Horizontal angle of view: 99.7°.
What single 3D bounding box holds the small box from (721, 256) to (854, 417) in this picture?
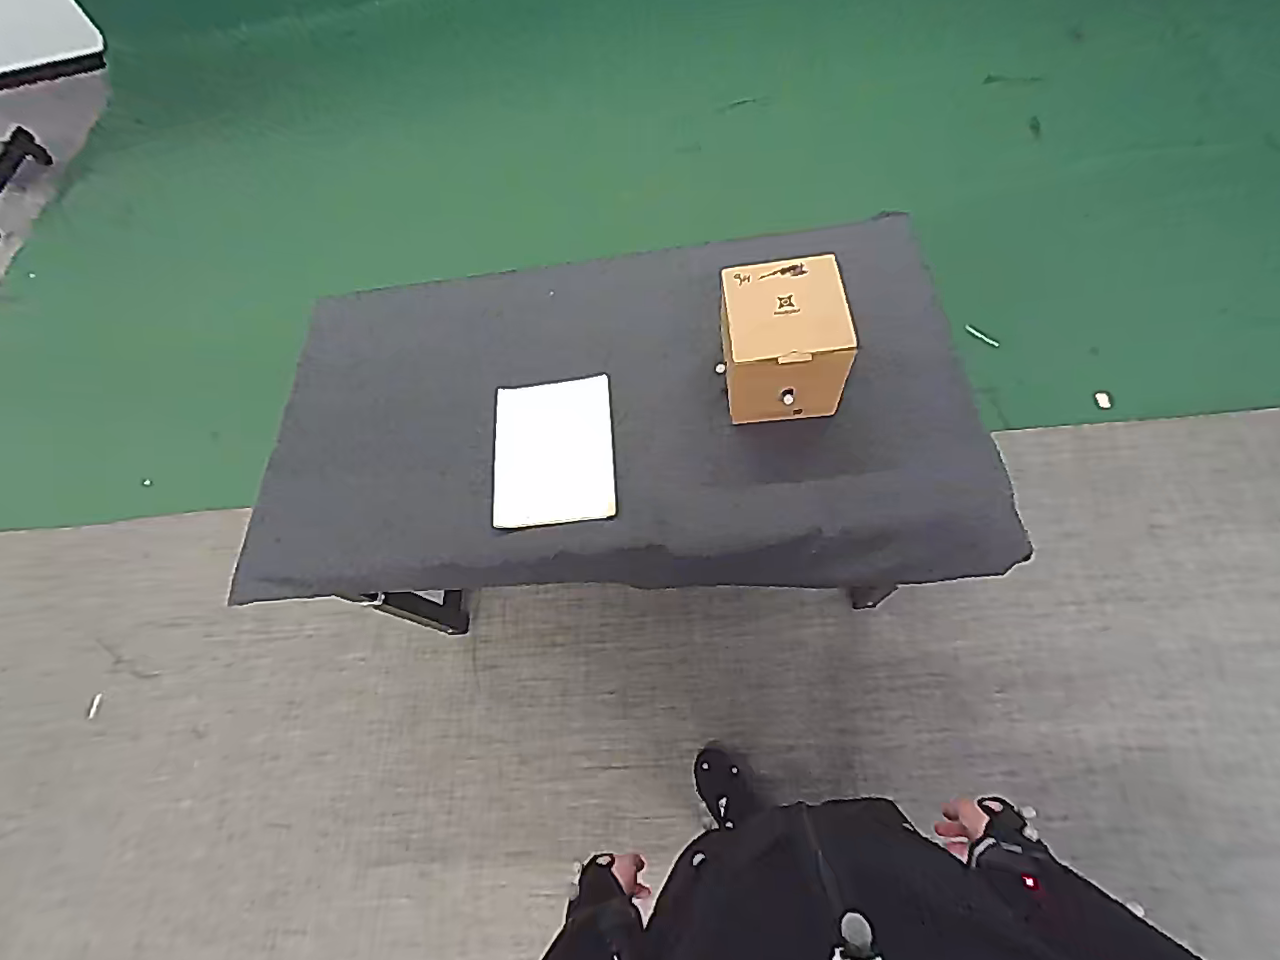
[{"bbox_3d":[0.216,-0.208,0.835,0.168,0.176,0.179,-5,67,6],"label":"small box"}]
